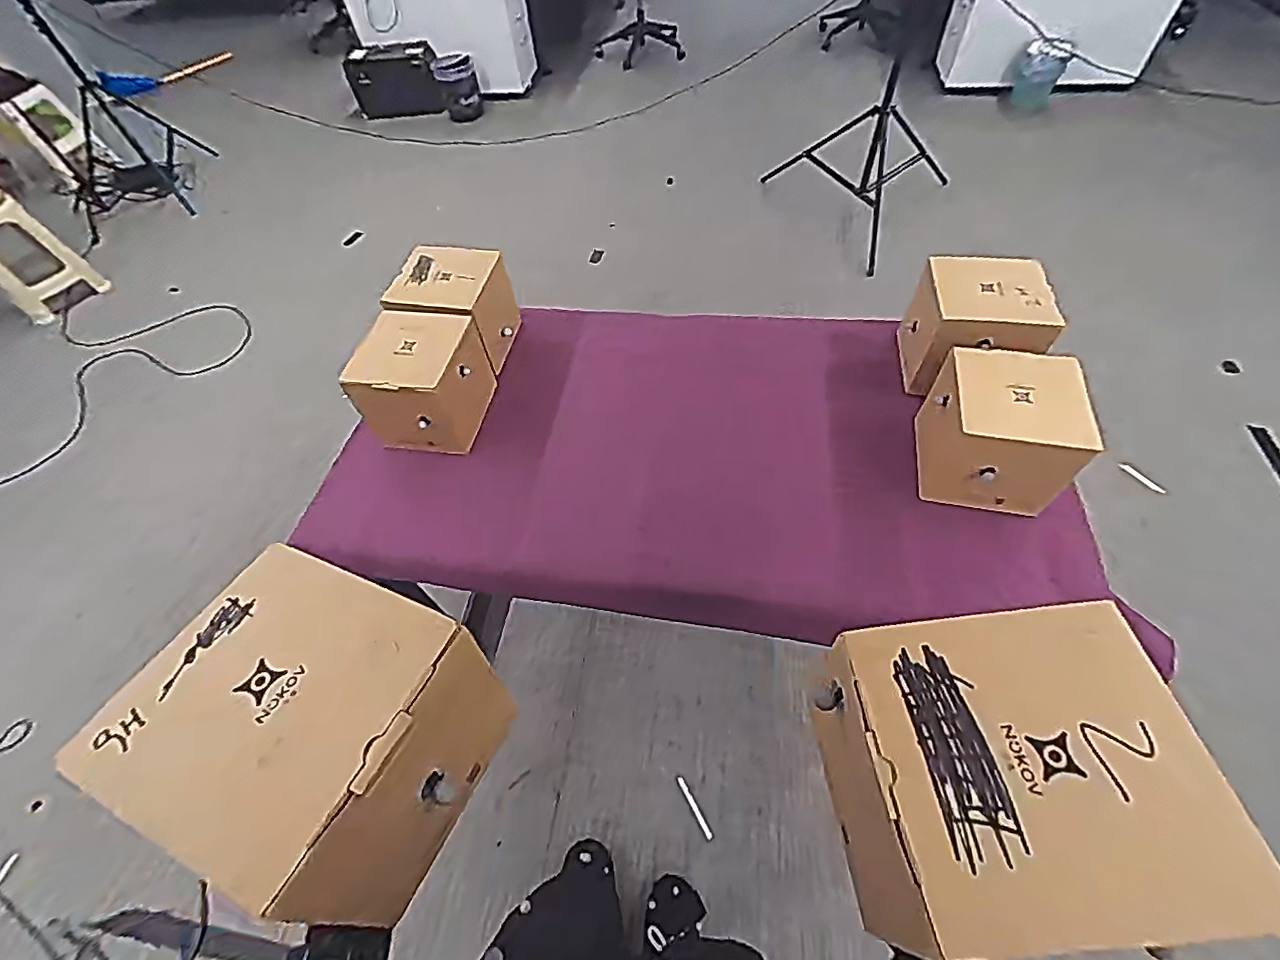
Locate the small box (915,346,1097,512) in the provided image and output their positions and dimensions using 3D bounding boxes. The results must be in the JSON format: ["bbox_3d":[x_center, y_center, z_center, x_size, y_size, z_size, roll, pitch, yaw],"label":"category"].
[{"bbox_3d":[0.527,-0.073,0.810,0.168,0.176,0.179,9,56,11],"label":"small box"}]

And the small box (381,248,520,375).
[{"bbox_3d":[-0.353,-0.322,1.044,0.179,0.176,0.168,7,58,8],"label":"small box"}]

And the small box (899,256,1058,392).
[{"bbox_3d":[0.560,-0.259,0.928,0.179,0.176,0.168,6,57,8],"label":"small box"}]

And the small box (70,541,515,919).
[{"bbox_3d":[-0.215,0.178,0.393,0.179,0.176,0.168,18,53,17],"label":"small box"}]
